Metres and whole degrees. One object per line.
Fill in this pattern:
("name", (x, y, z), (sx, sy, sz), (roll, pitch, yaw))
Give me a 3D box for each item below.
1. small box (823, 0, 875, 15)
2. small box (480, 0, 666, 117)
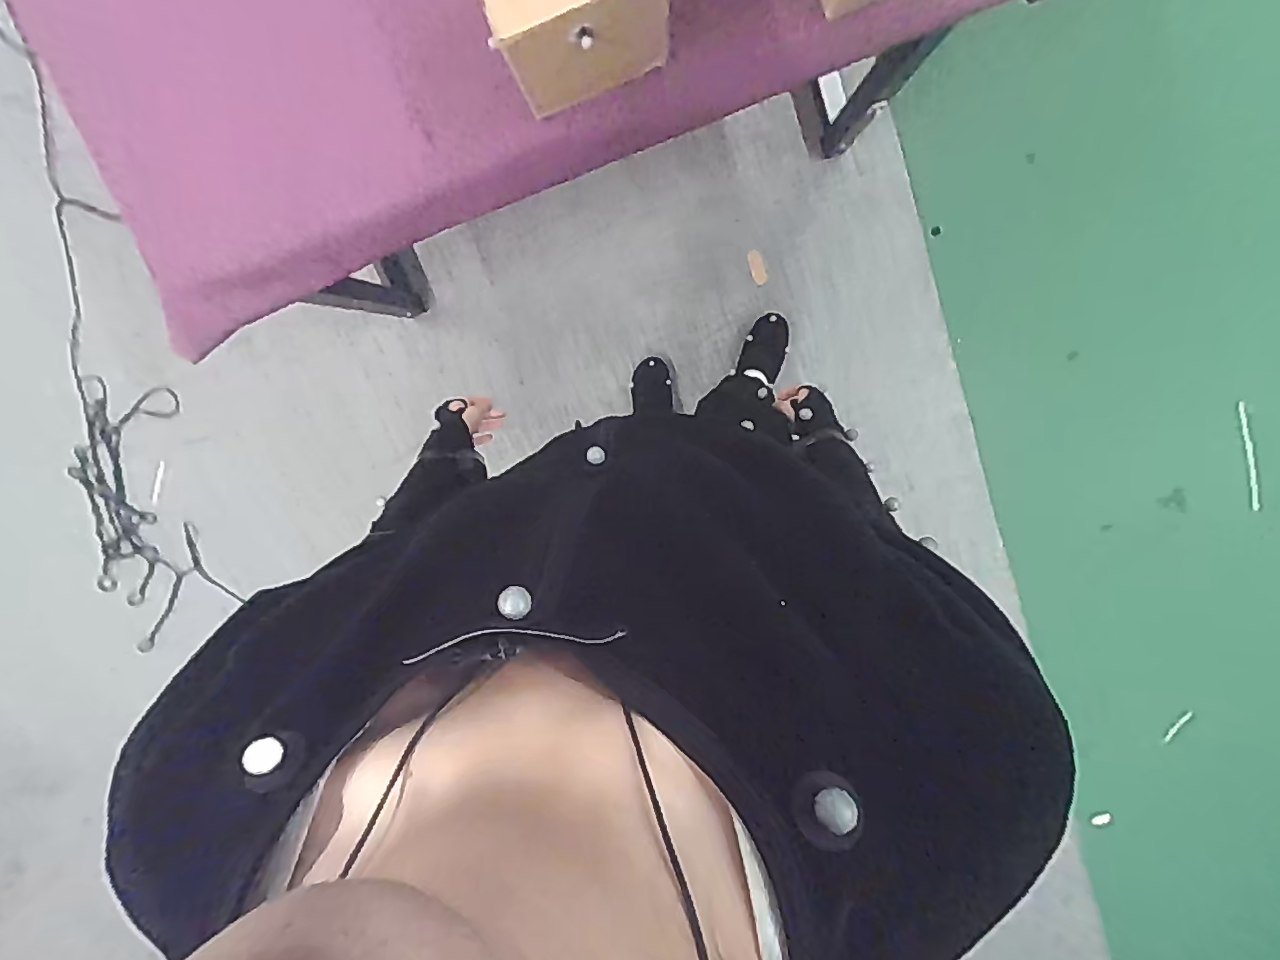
("small box", (0.267, -0.627, 0.538), (0.179, 0.176, 0.168), (-21, 101, 7))
("small box", (-0.077, -0.533, 0.576), (0.179, 0.176, 0.168), (-19, 100, 6))
